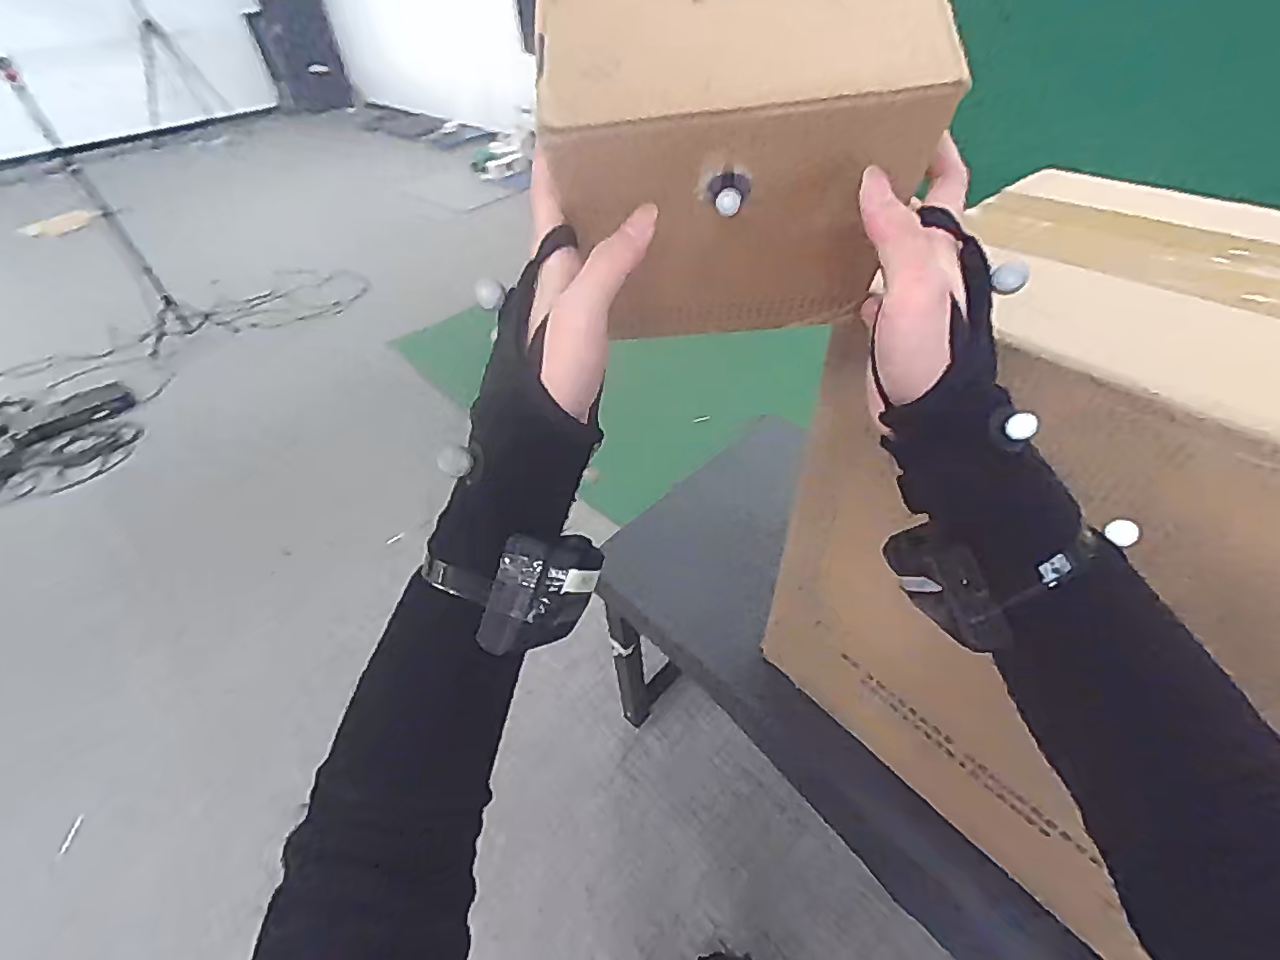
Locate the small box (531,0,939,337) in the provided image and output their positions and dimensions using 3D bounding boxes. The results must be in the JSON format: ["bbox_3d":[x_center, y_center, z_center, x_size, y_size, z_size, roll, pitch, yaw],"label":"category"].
[{"bbox_3d":[0.044,-0.203,0.330,0.179,0.176,0.168,-3,72,4],"label":"small box"}]
